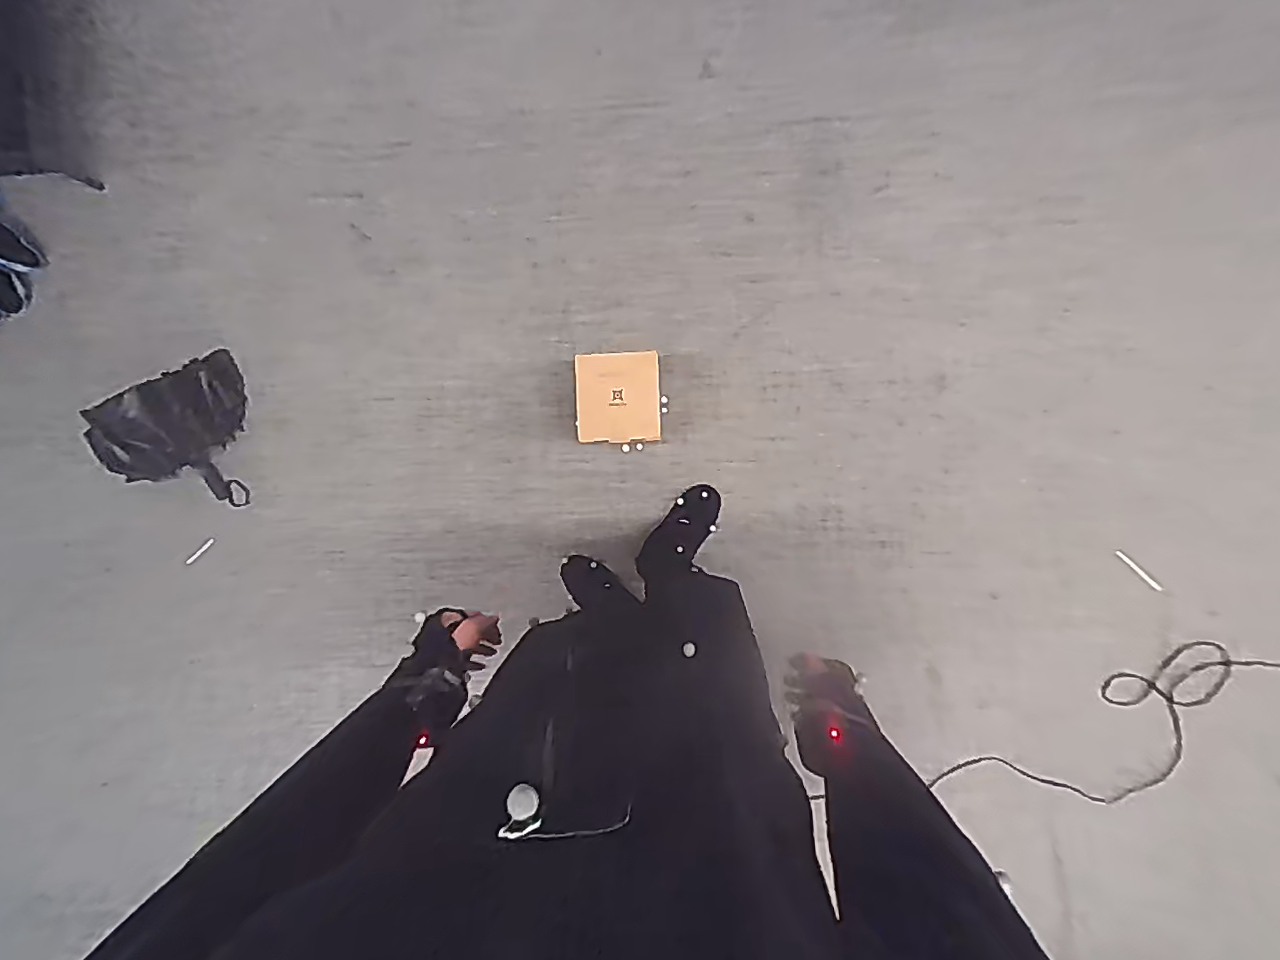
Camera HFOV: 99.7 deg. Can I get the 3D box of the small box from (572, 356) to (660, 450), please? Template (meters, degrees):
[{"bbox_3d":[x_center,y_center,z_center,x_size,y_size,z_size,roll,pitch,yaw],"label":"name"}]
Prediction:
[{"bbox_3d":[-0.043,-0.152,1.132,0.168,0.176,0.179,-4,91,2],"label":"small box"}]
